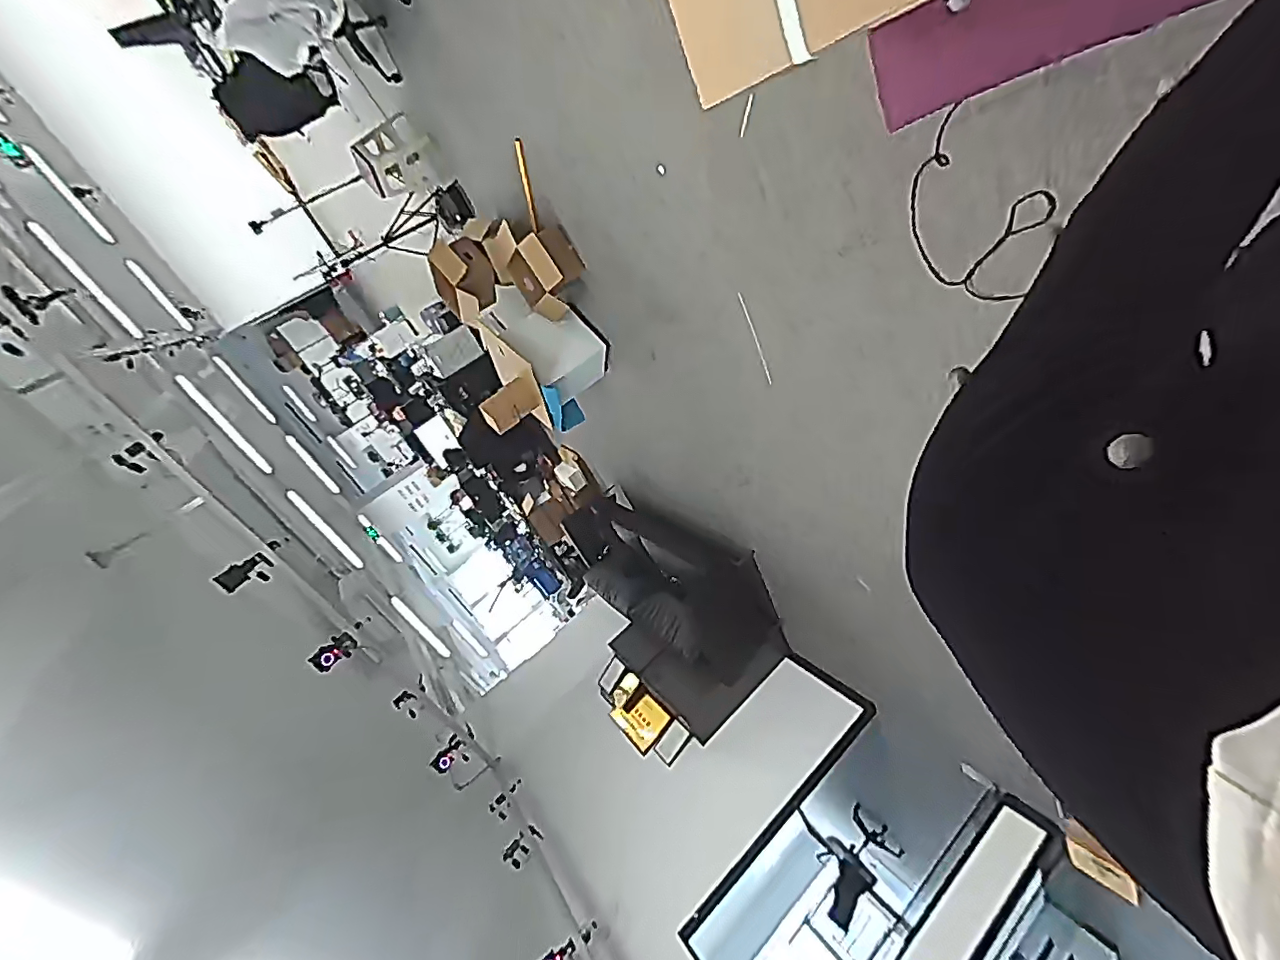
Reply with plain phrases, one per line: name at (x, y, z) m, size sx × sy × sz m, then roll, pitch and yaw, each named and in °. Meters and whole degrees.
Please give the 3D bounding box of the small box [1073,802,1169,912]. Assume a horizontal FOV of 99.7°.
small box at (1.416, 1.099, 1.589) m, size 0.168 × 0.176 × 0.179 m, roll 18°, pitch 145°, yaw 58°
